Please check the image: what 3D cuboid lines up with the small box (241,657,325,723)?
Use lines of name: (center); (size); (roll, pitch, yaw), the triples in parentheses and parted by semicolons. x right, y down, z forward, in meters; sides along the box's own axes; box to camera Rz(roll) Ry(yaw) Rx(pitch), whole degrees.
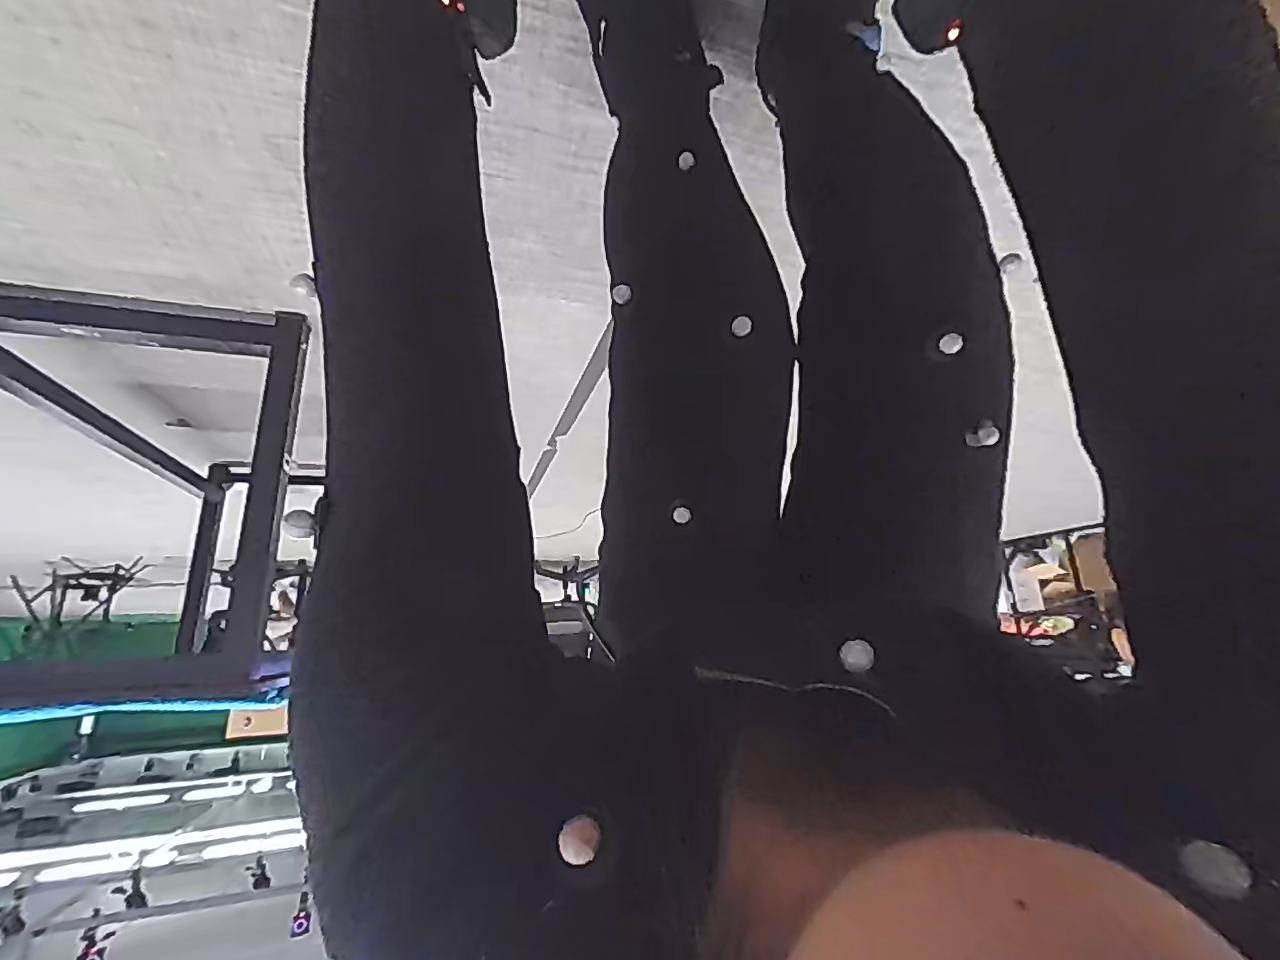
small box: (-1.090, 0.637, 1.663); (0.179, 0.176, 0.168); (1, 165, -19)
